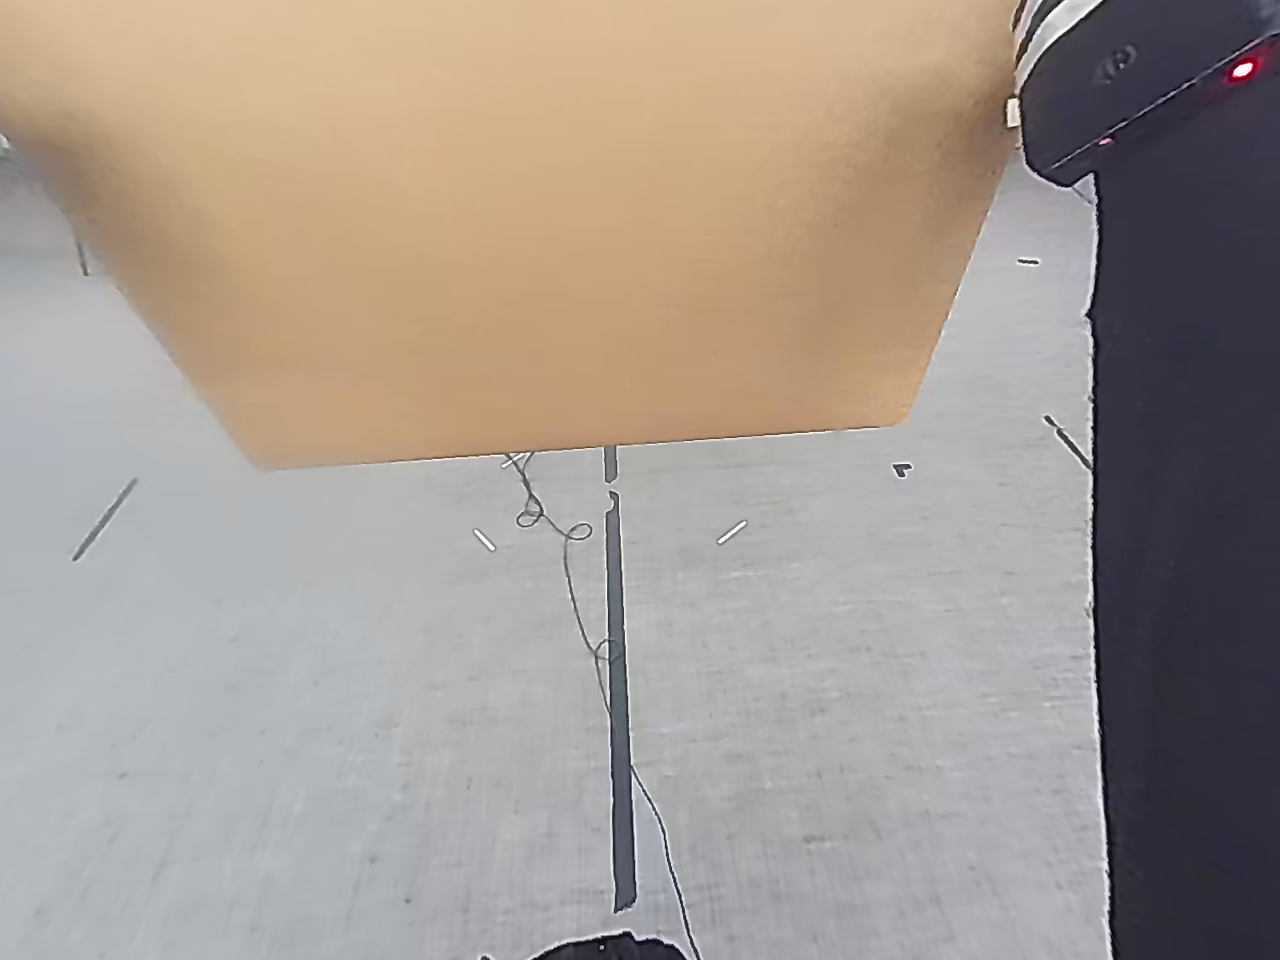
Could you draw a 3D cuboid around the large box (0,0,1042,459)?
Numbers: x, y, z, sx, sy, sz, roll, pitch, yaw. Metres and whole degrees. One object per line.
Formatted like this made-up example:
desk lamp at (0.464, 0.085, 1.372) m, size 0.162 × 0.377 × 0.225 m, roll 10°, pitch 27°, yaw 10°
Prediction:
large box at (-0.048, -0.236, 0.349) m, size 0.408 × 0.320 × 0.320 m, roll -4°, pitch 44°, yaw -2°
